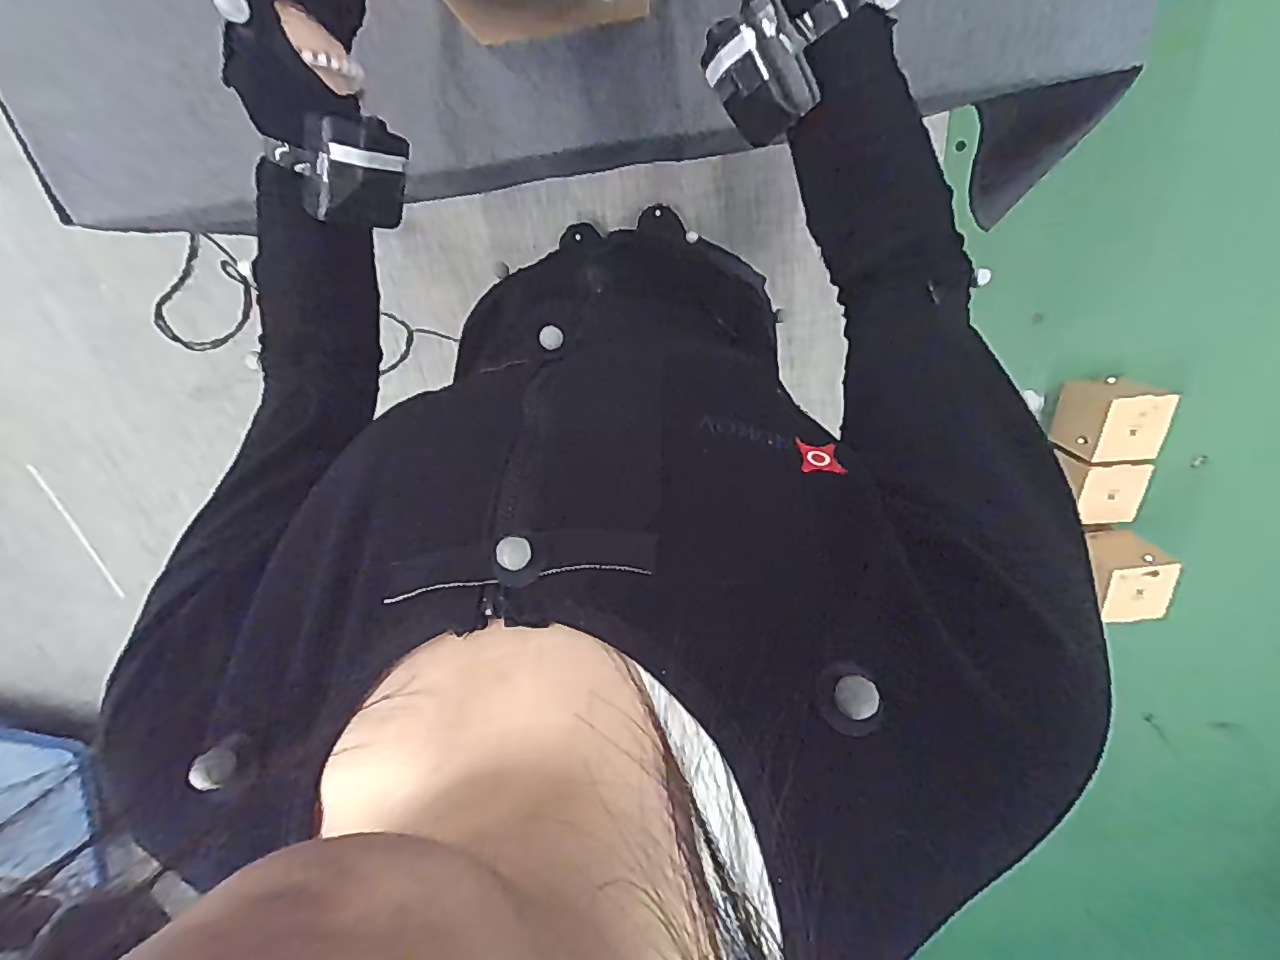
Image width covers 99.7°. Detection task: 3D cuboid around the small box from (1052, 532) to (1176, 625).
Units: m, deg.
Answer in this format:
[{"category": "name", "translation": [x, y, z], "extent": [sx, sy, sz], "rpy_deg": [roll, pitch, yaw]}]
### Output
[{"category": "small box", "translation": [1.261, 0.263, 1.457], "extent": [0.168, 0.176, 0.179], "rpy_deg": [-6, 117, 2]}]
